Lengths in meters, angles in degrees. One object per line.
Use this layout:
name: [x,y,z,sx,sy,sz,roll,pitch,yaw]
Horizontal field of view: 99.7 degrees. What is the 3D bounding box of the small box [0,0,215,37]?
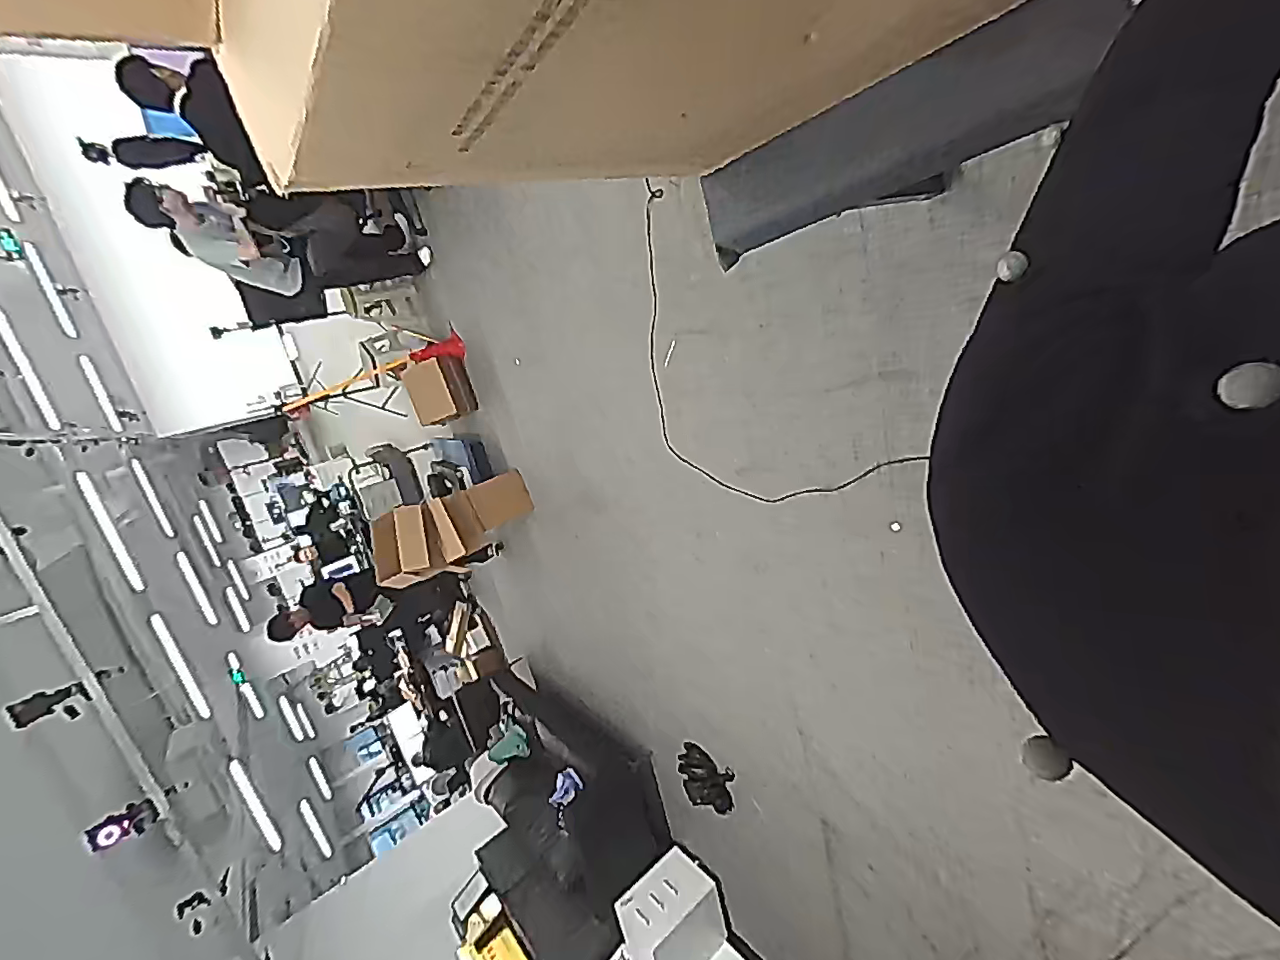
small box: [-0.408,-0.430,0.351,0.179,0.176,0.168,-1,113,53]
